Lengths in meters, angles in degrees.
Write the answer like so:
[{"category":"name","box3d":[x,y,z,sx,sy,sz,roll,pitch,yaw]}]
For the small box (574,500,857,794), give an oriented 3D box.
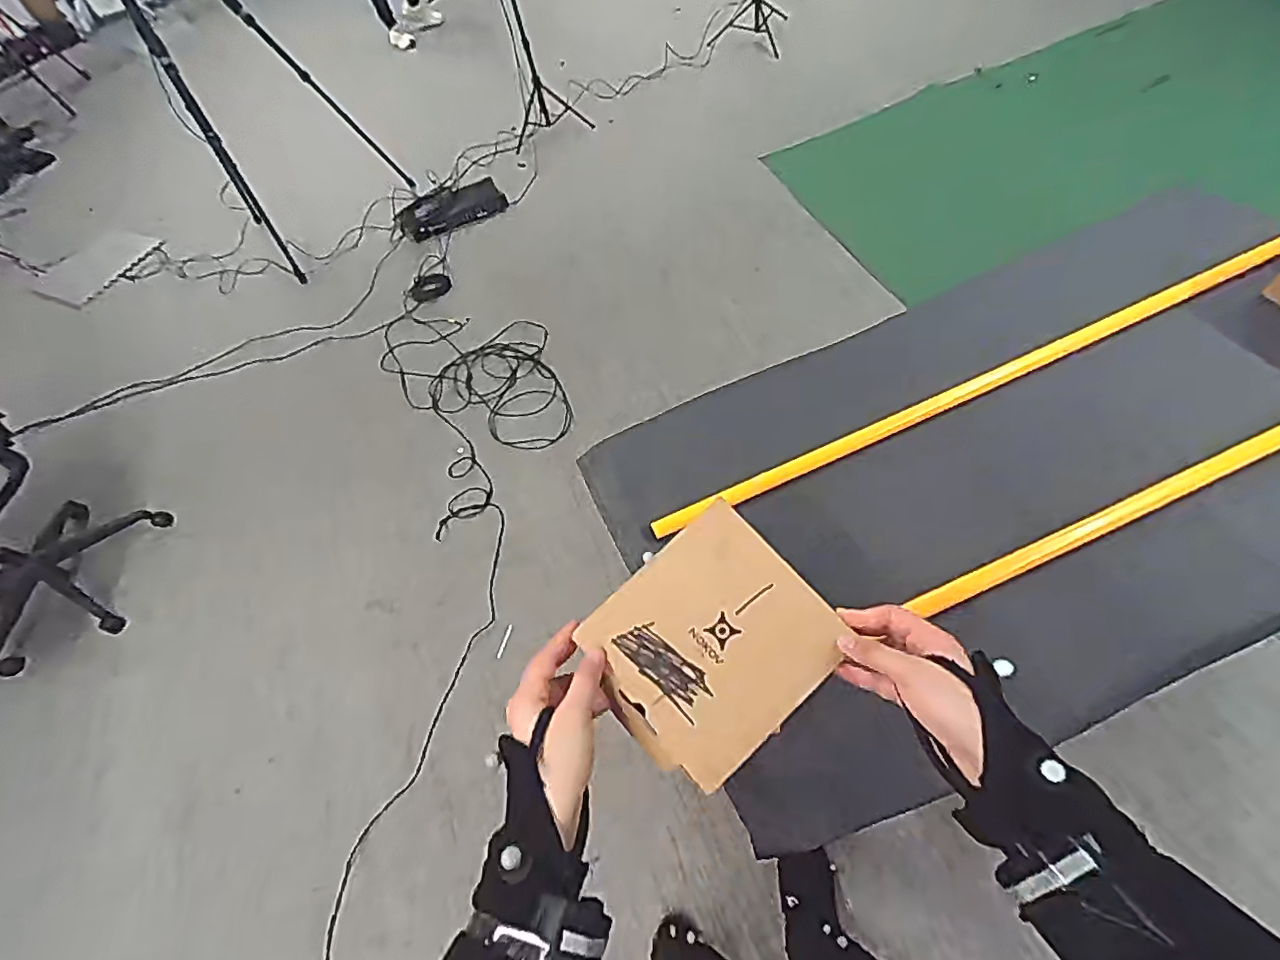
[{"category":"small box","box3d":[0.065,0.149,0.518,0.179,0.176,0.168,-42,78,-8]}]
